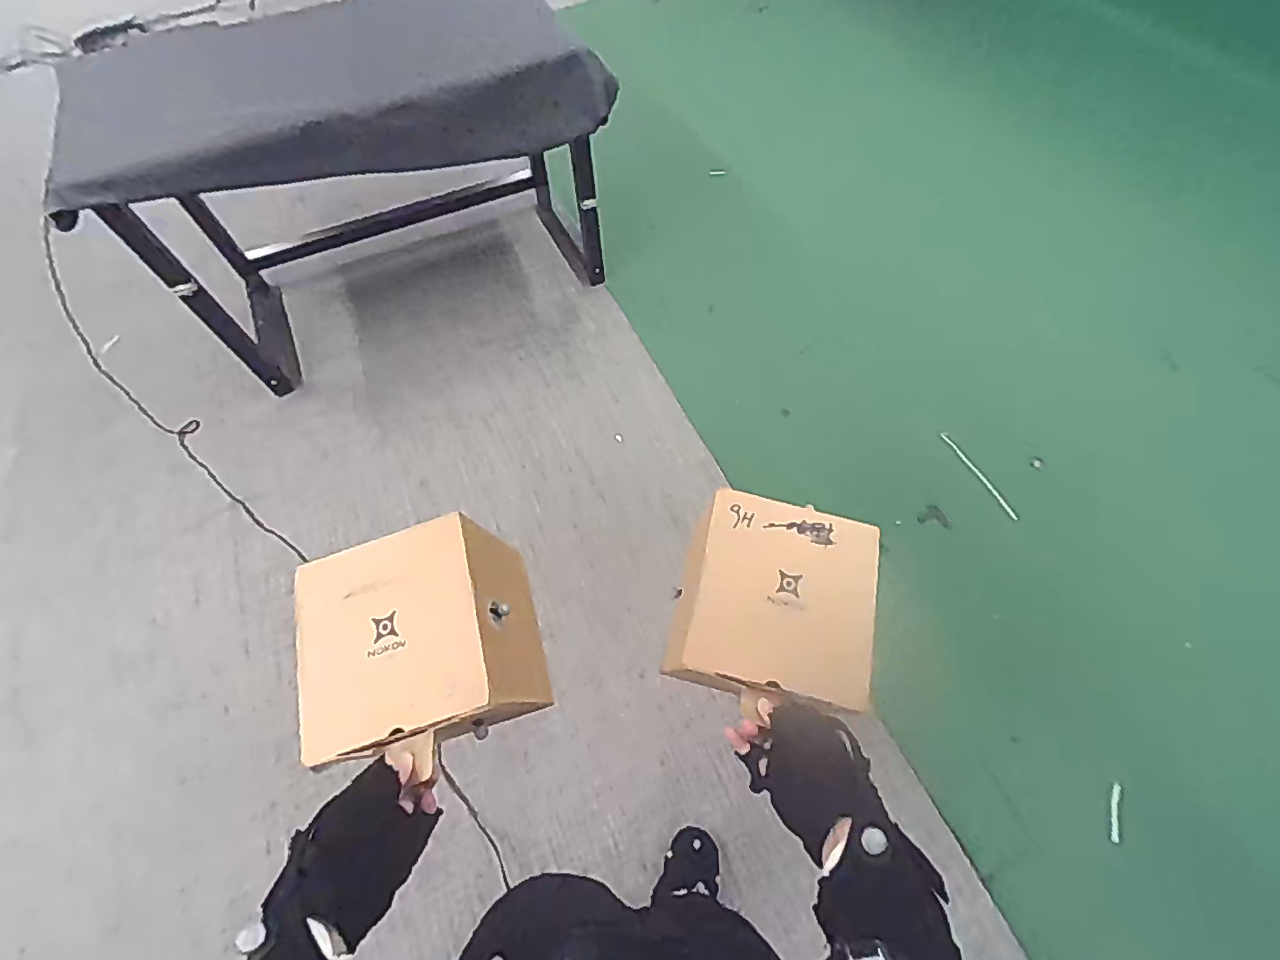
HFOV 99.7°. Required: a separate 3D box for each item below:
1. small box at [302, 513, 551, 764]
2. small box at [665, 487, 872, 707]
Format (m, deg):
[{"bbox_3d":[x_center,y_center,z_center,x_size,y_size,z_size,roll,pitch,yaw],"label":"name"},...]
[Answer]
[{"bbox_3d":[-0.203,0.161,0.545,0.168,0.176,0.179,-20,65,1],"label":"small box"},{"bbox_3d":[0.126,0.131,0.581,0.168,0.176,0.179,13,69,0],"label":"small box"}]
